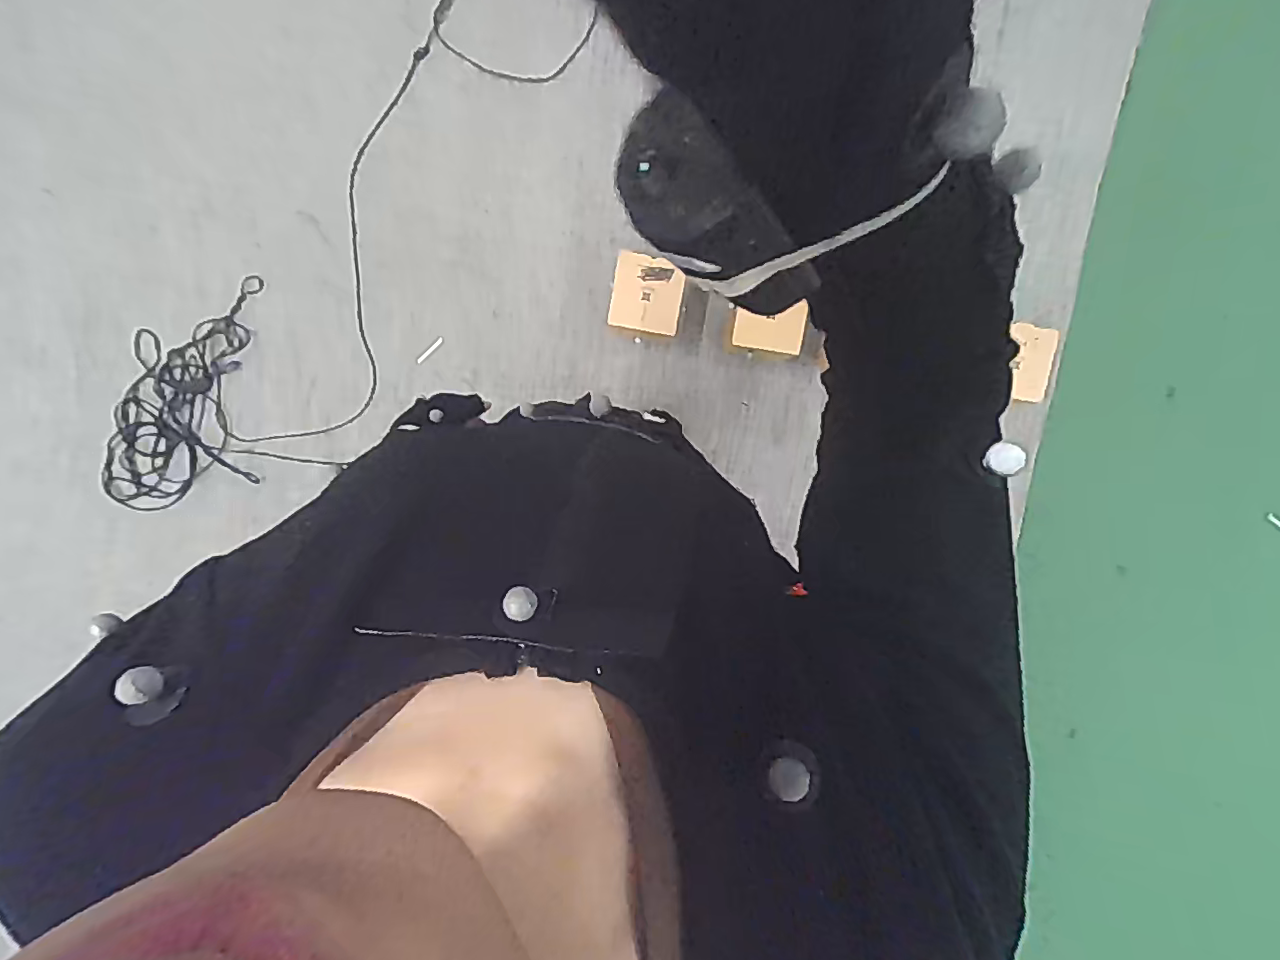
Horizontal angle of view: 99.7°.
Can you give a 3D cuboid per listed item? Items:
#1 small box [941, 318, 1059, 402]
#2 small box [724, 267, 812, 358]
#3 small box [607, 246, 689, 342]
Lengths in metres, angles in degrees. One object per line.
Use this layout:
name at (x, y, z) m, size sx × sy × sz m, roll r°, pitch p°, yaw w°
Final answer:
small box at (0.888, -0.293, 1.354) m, size 0.168 × 0.176 × 0.179 m, roll 9°, pitch 97°, yaw -2°
small box at (0.308, -0.405, 1.341) m, size 0.168 × 0.176 × 0.179 m, roll 9°, pitch 96°, yaw 0°
small box at (0.018, -0.451, 1.335) m, size 0.168 × 0.176 × 0.179 m, roll 11°, pitch 98°, yaw -1°
